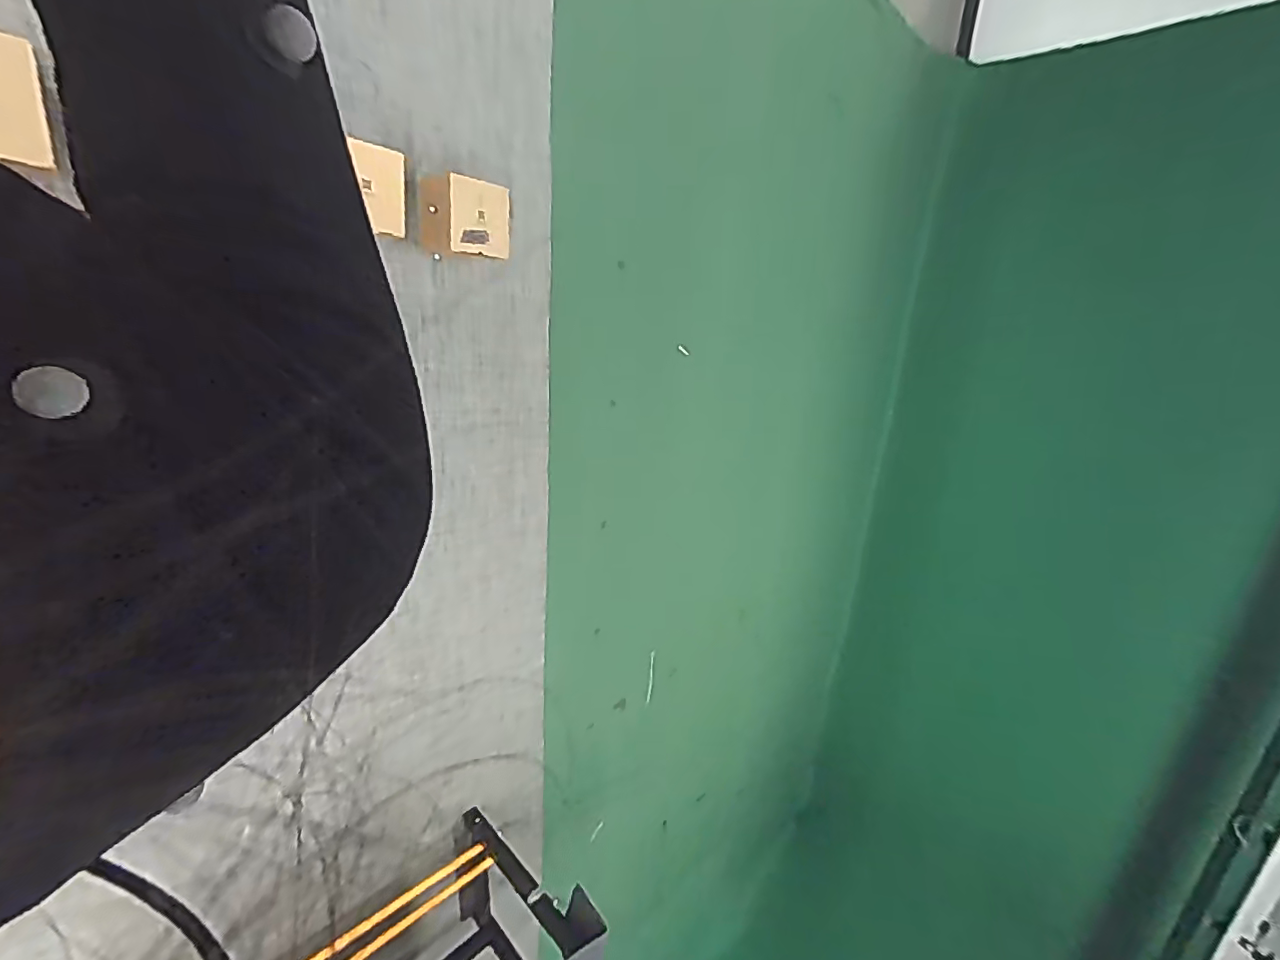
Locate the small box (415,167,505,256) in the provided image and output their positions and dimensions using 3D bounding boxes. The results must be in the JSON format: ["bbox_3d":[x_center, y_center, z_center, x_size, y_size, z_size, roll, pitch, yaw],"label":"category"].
[{"bbox_3d":[-0.469,-0.685,1.401,0.168,0.176,0.179,-11,113,-46],"label":"small box"}]

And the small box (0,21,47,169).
[{"bbox_3d":[-1.029,-0.591,0.812,0.168,0.176,0.179,-11,113,-45],"label":"small box"}]

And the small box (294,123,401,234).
[{"bbox_3d":[-0.653,-0.660,1.206,0.168,0.176,0.179,-11,114,-46],"label":"small box"}]
